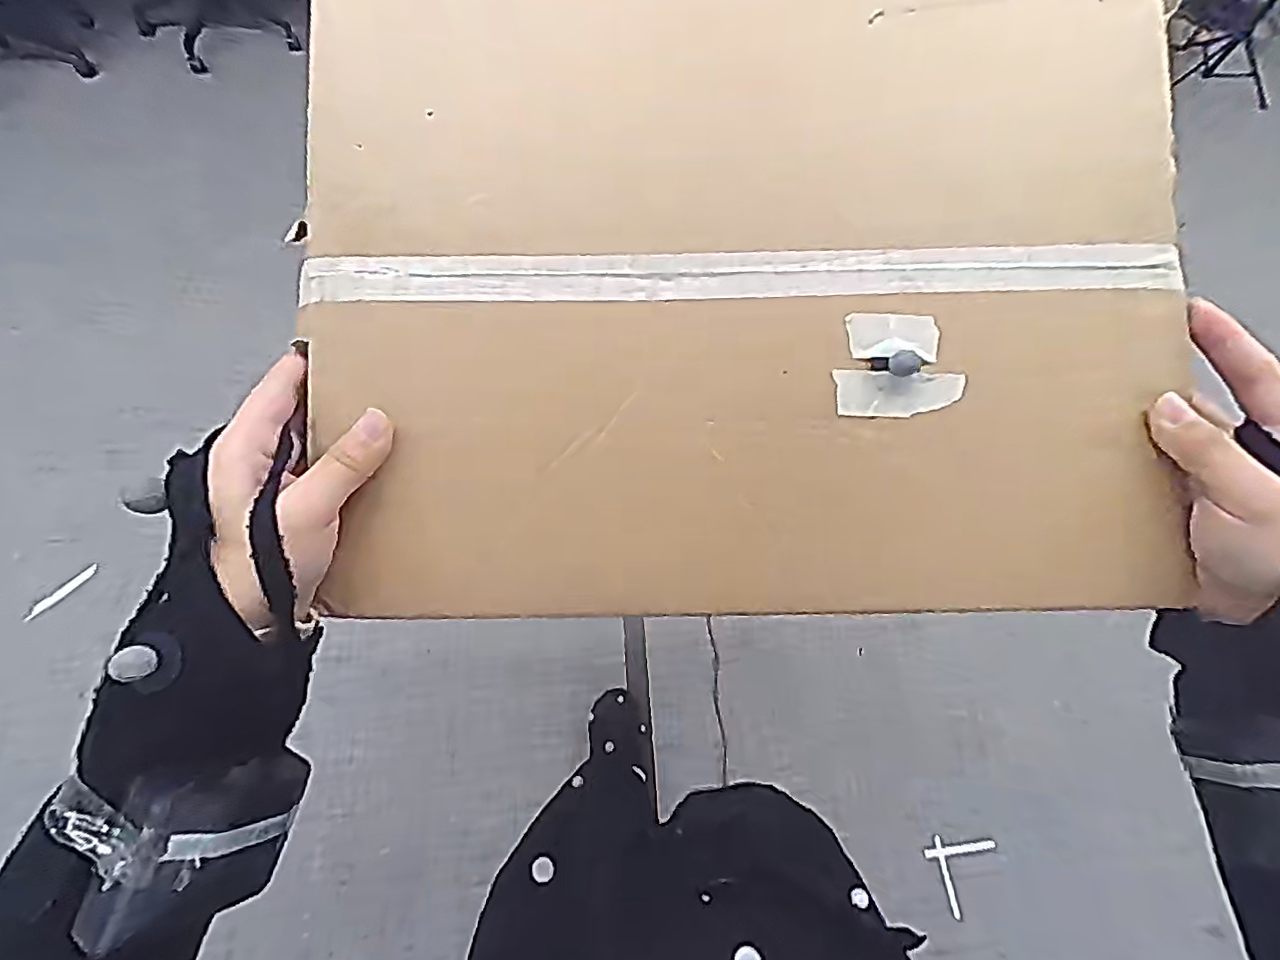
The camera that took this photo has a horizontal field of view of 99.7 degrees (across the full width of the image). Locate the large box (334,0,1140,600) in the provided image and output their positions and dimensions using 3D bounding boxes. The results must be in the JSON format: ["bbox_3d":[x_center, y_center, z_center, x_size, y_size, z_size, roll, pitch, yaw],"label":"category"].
[{"bbox_3d":[0.043,-0.094,0.420,0.408,0.320,0.320,-1,88,-1],"label":"large box"}]
